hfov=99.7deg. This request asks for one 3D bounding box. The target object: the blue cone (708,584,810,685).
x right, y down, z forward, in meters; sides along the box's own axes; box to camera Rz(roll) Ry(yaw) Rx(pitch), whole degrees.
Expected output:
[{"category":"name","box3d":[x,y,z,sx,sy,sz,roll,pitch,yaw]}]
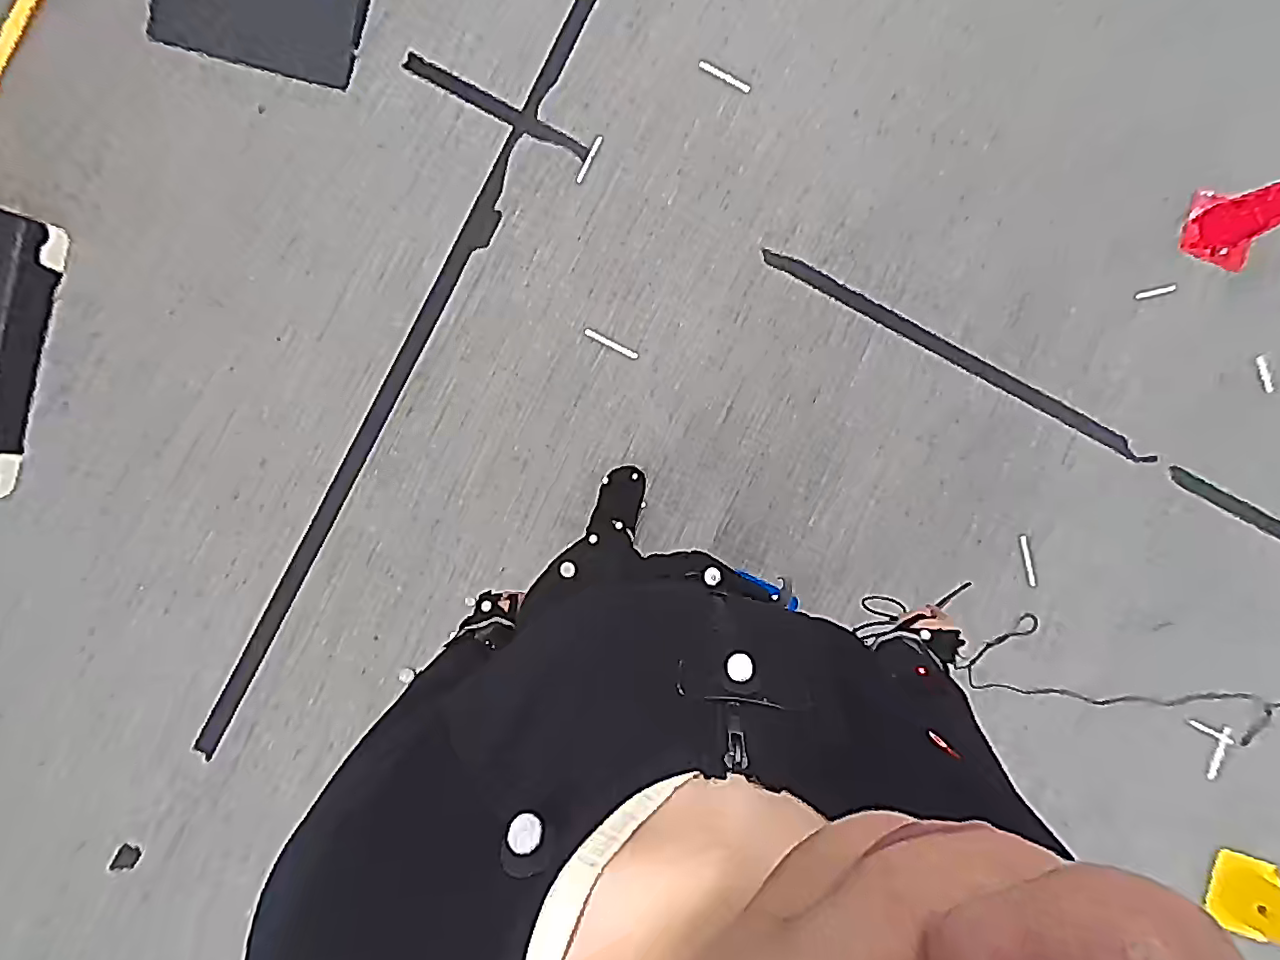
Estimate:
[{"category":"blue cone","box3d":[0.298,0.369,1.213,0.193,0.380,0.192,27,87,-3]}]

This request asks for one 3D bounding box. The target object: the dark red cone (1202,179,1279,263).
[{"category":"dark red cone","box3d":[1.676,-0.720,1.334,0.202,0.394,0.201,19,87,-3]}]
